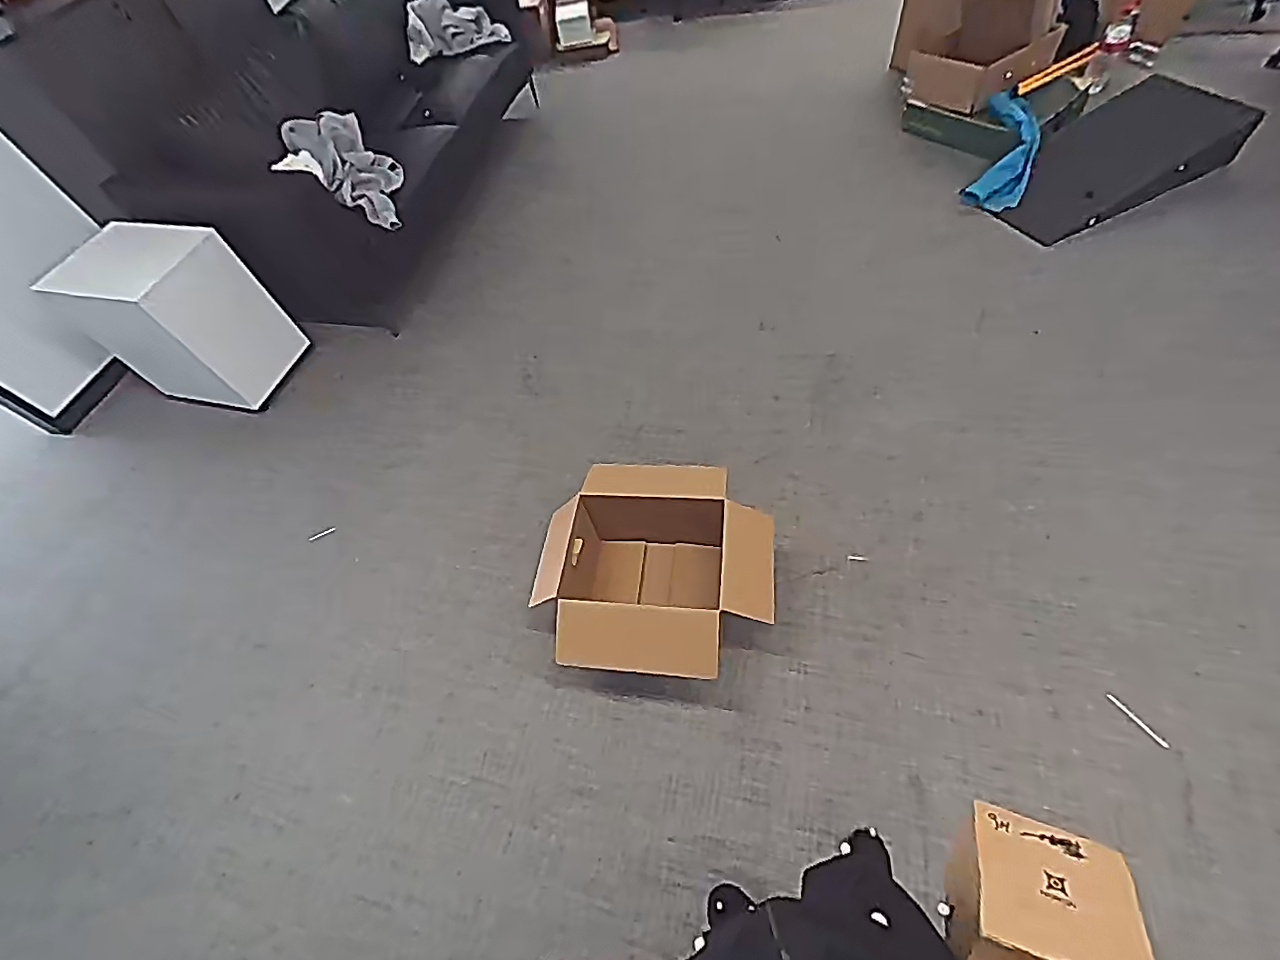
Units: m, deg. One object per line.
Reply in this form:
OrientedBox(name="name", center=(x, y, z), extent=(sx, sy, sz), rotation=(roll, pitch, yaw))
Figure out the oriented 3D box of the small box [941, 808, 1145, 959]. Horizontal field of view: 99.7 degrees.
OrientedBox(name="small box", center=(0.479, 0.563, 0.661), extent=(0.168, 0.176, 0.179), rotation=(12, 28, 25))
